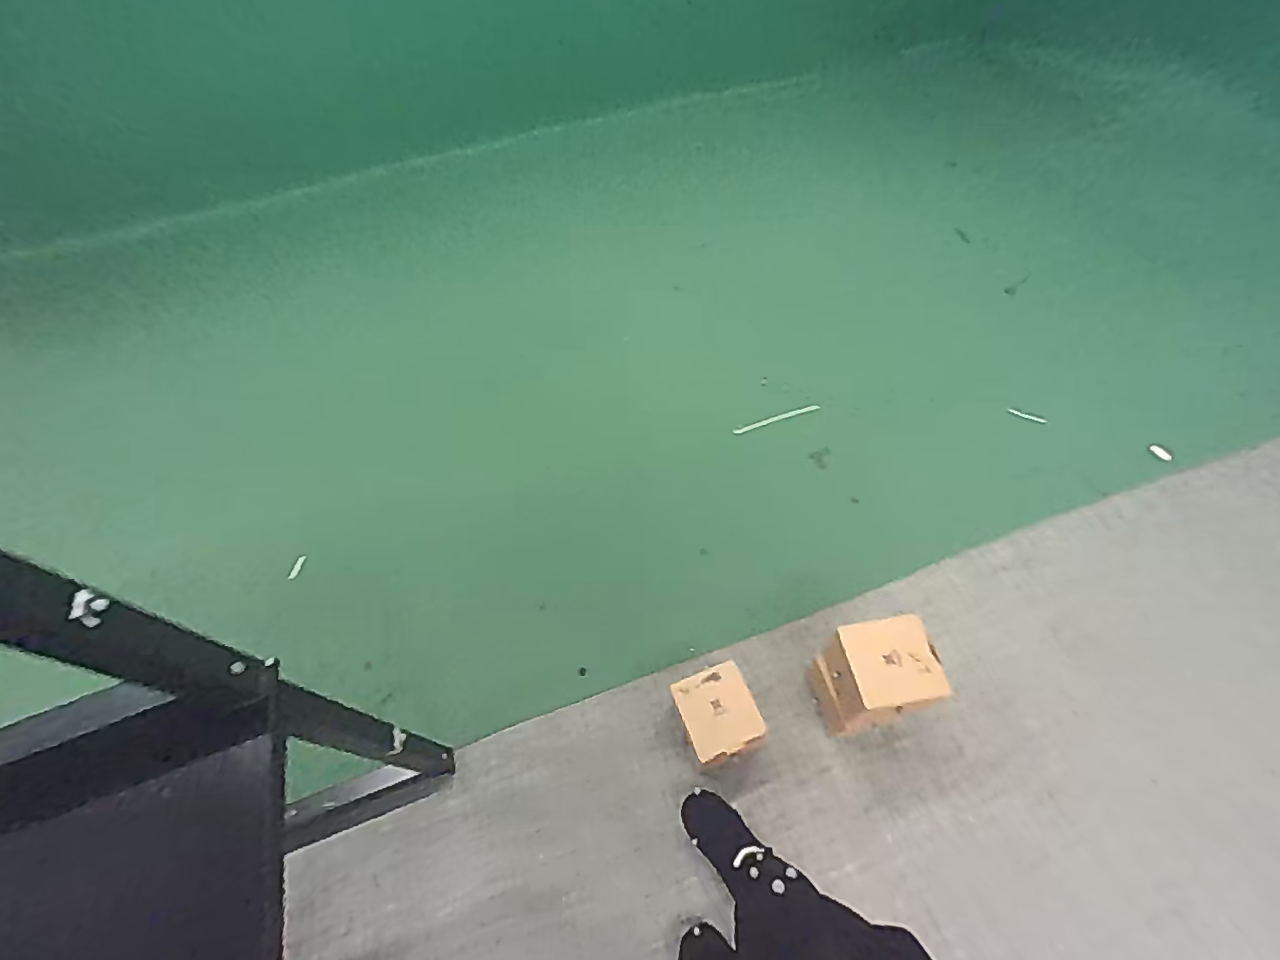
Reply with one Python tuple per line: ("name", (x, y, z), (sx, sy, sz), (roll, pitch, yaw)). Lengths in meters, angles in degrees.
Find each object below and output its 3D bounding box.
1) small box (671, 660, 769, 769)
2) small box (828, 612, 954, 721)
("small box", (0.183, 0.553, 1.262), (0.168, 0.176, 0.179), (-20, 56, -8))
("small box", (0.510, 0.397, 1.137), (0.179, 0.176, 0.168), (-10, 56, -1))
